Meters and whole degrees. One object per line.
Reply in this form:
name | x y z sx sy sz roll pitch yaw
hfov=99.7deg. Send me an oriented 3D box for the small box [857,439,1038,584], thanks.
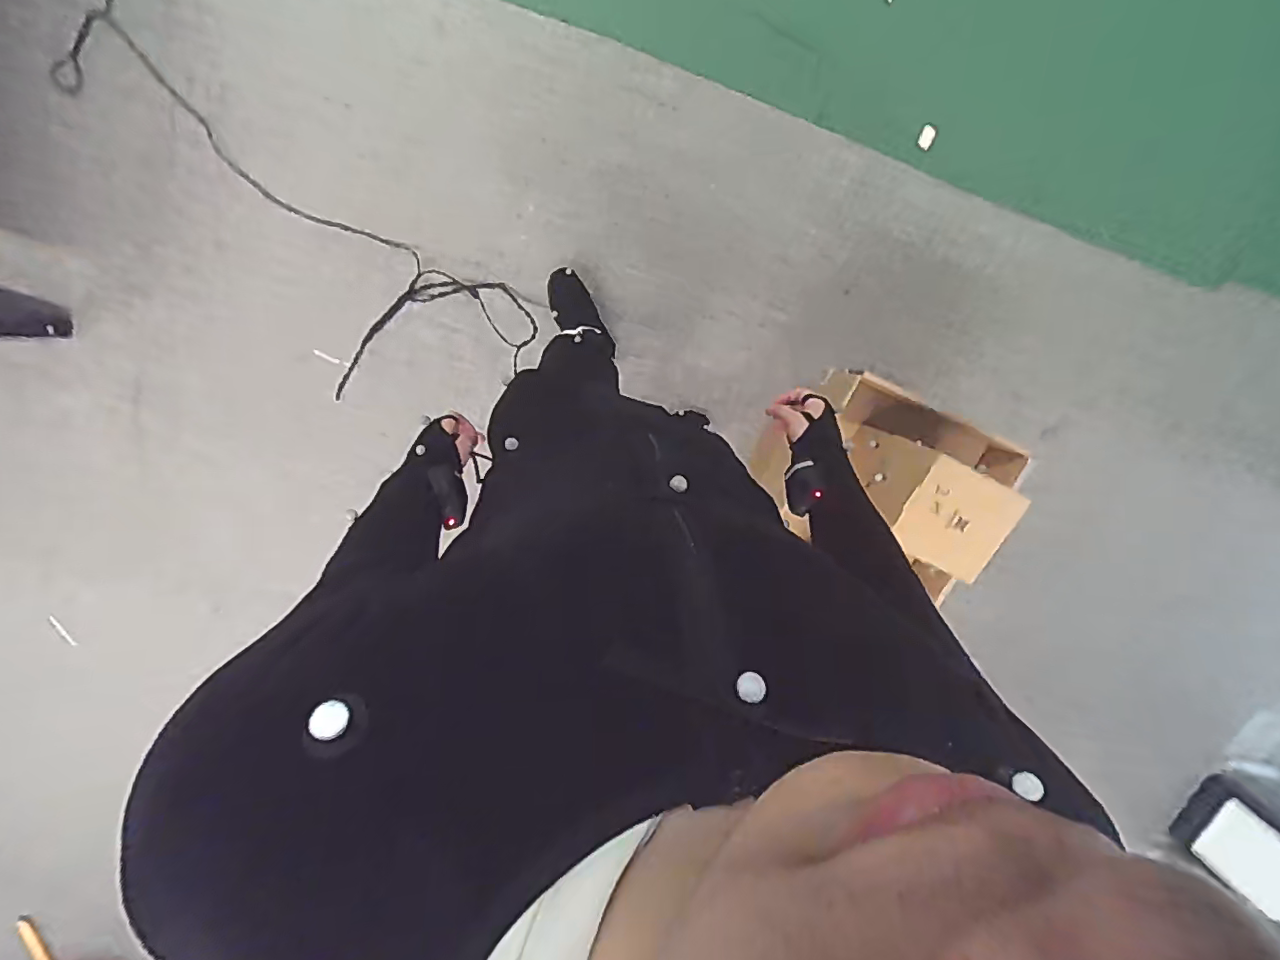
small box | 0.516 0.045 0.936 0.179 0.176 0.168 27 104 -4
